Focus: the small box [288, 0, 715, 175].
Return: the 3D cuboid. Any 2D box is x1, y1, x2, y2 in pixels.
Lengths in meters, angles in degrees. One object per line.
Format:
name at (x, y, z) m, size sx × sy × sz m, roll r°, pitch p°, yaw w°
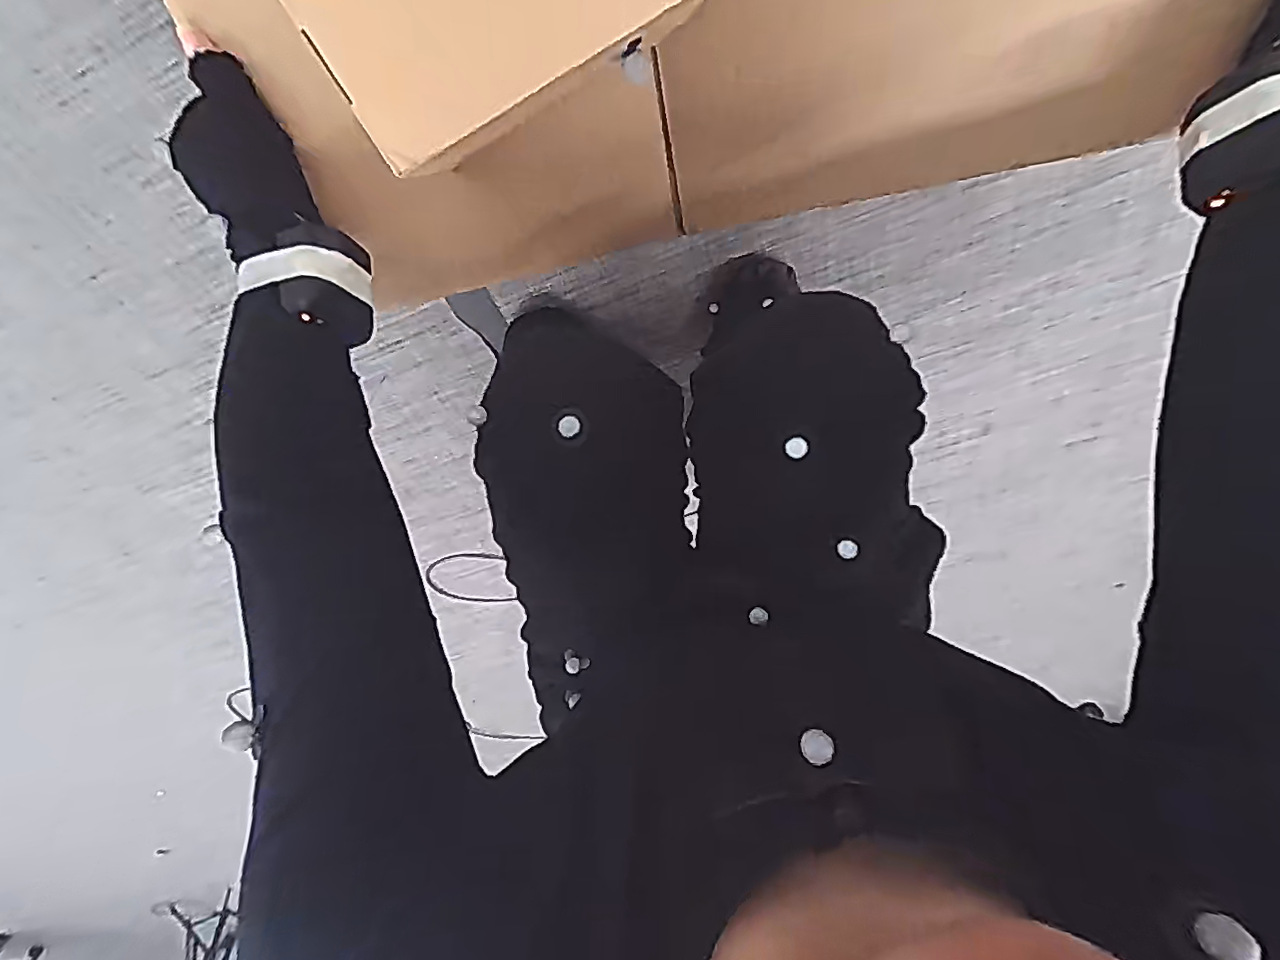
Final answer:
small box at (-0.081, -0.278, 0.265) m, size 0.179 × 0.176 × 0.168 m, roll -27°, pitch 121°, yaw 7°
